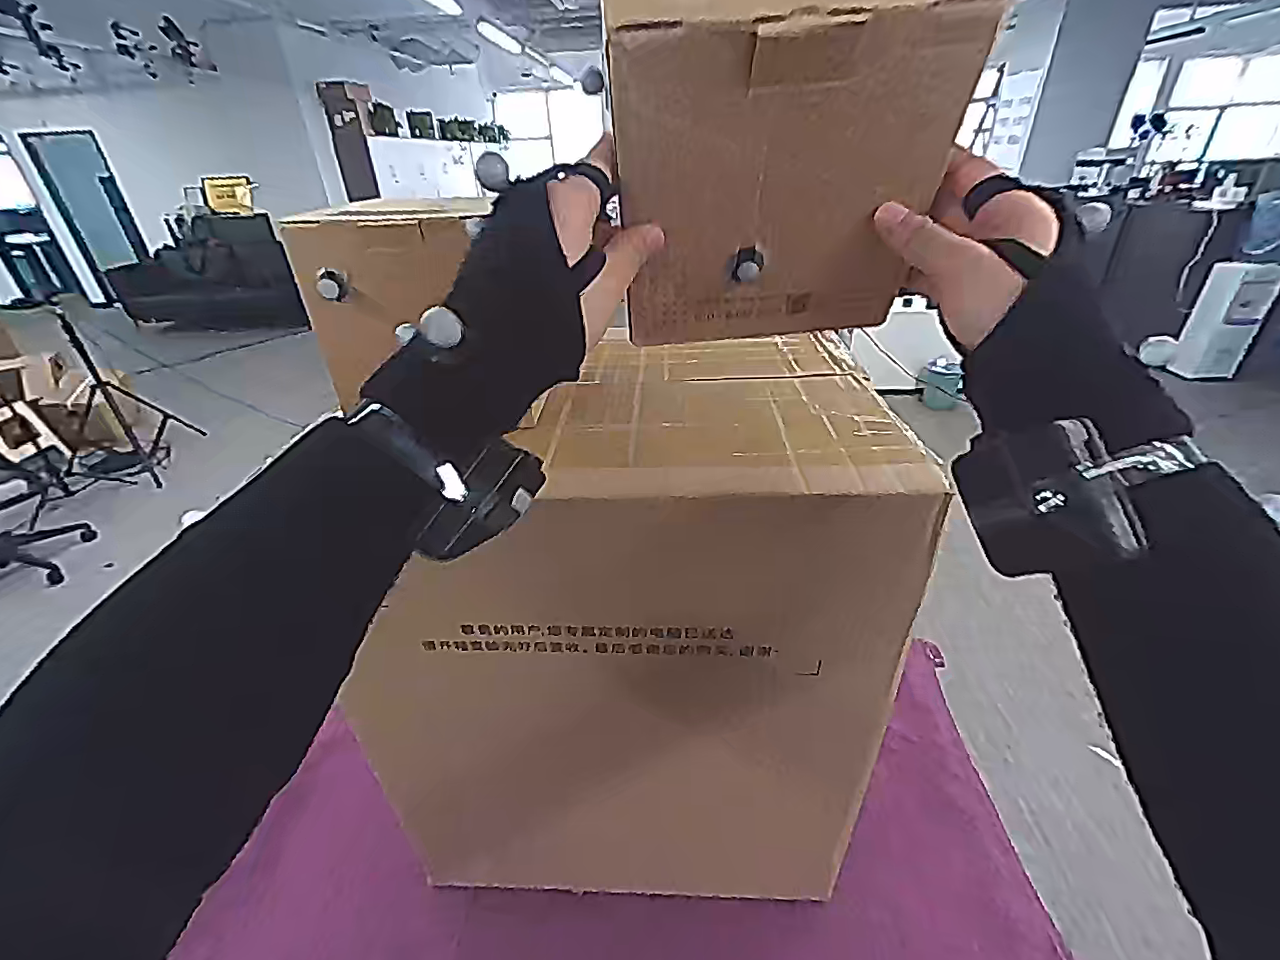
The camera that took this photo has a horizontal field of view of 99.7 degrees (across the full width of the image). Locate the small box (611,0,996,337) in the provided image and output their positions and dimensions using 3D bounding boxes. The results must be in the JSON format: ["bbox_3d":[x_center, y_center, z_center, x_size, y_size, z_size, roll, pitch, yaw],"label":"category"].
[{"bbox_3d":[0.069,-0.215,0.342,0.168,0.176,0.179,-5,54,0],"label":"small box"}]
